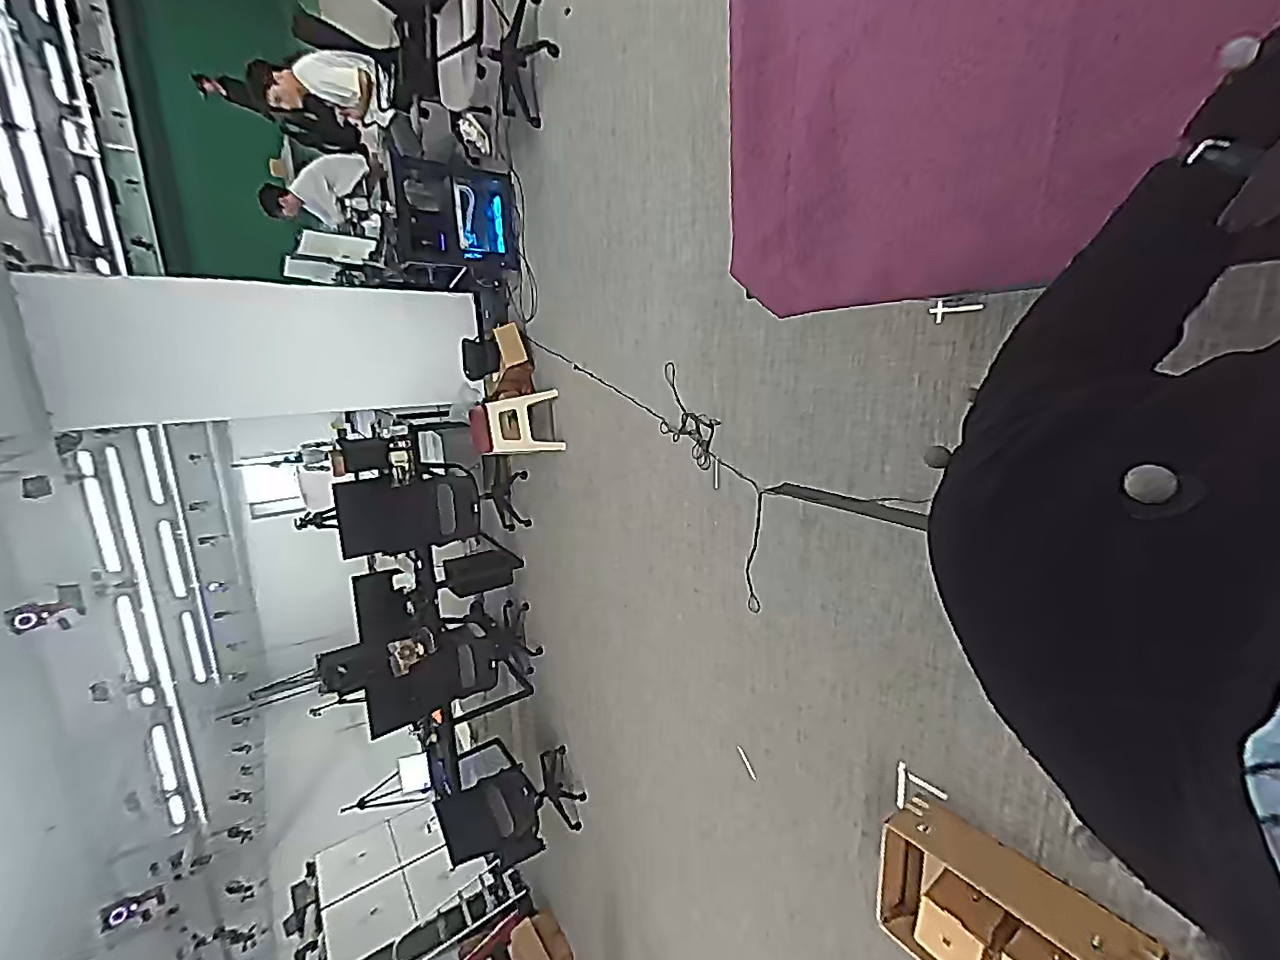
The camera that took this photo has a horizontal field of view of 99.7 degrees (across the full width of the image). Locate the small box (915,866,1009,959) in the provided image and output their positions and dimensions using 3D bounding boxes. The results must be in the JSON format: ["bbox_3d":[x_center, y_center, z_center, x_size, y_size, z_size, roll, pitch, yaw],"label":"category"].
[{"bbox_3d":[0.924,1.272,1.551,0.168,0.176,0.179,22,116,51],"label":"small box"}]

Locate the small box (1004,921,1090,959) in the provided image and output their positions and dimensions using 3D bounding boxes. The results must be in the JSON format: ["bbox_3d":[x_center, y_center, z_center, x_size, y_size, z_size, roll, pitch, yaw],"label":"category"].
[{"bbox_3d":[1.045,1.287,1.371,0.168,0.176,0.179,13,109,56],"label":"small box"}]
